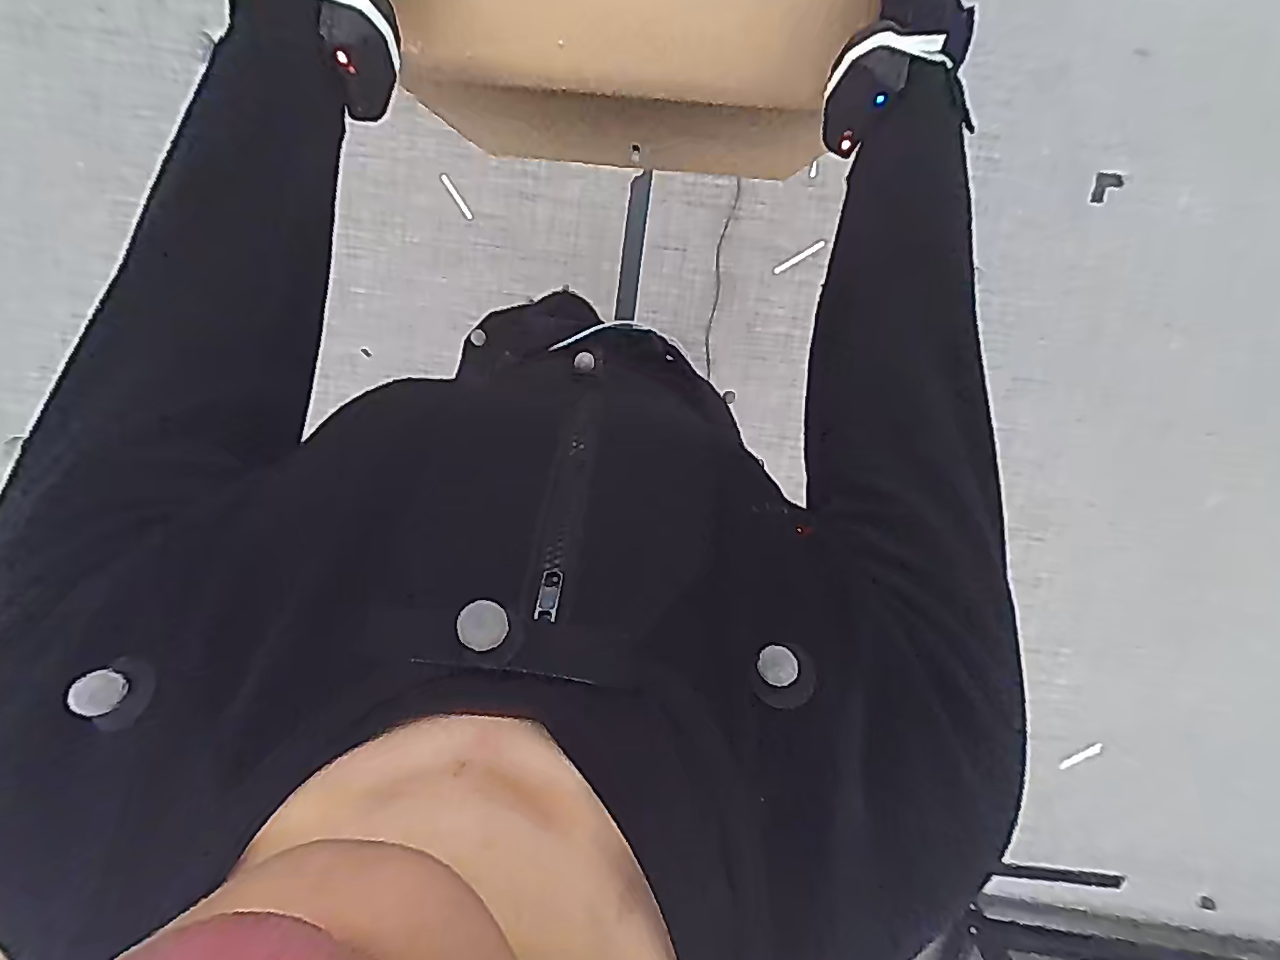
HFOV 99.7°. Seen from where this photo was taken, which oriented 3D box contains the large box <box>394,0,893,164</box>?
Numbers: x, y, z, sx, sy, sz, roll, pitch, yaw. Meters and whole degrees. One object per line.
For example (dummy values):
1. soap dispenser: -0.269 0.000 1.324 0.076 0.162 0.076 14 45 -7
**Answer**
1. large box: 0.011 -0.520 0.534 0.408 0.320 0.320 4 110 -1
